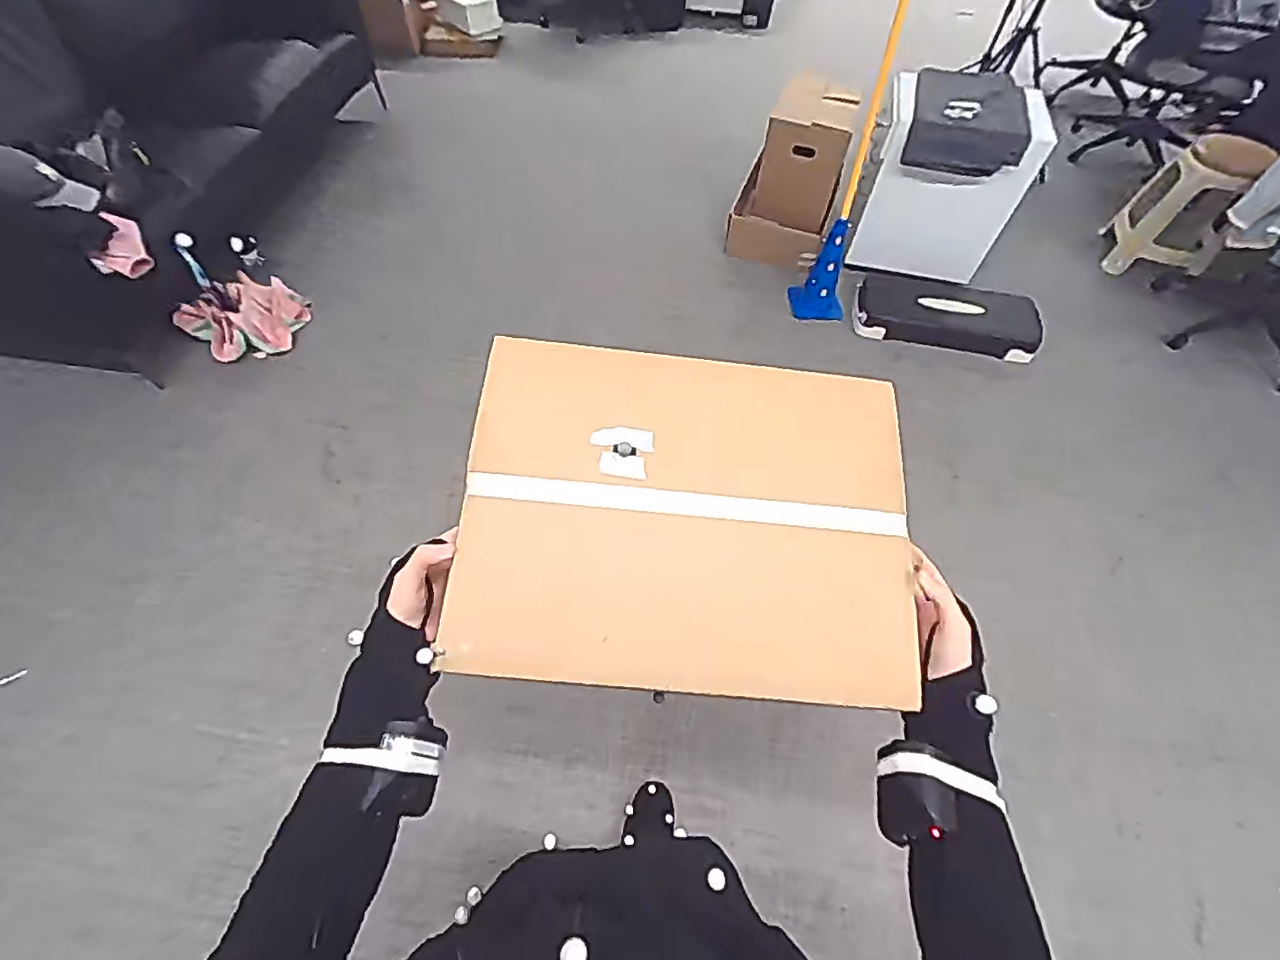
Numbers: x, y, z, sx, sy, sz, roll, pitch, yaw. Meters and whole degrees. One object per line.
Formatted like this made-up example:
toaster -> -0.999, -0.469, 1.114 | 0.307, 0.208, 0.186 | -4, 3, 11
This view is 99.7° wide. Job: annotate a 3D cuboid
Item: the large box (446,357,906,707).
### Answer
large box -> 0.036, 0.081, 0.646 | 0.408, 0.320, 0.320 | 5, 70, -2
